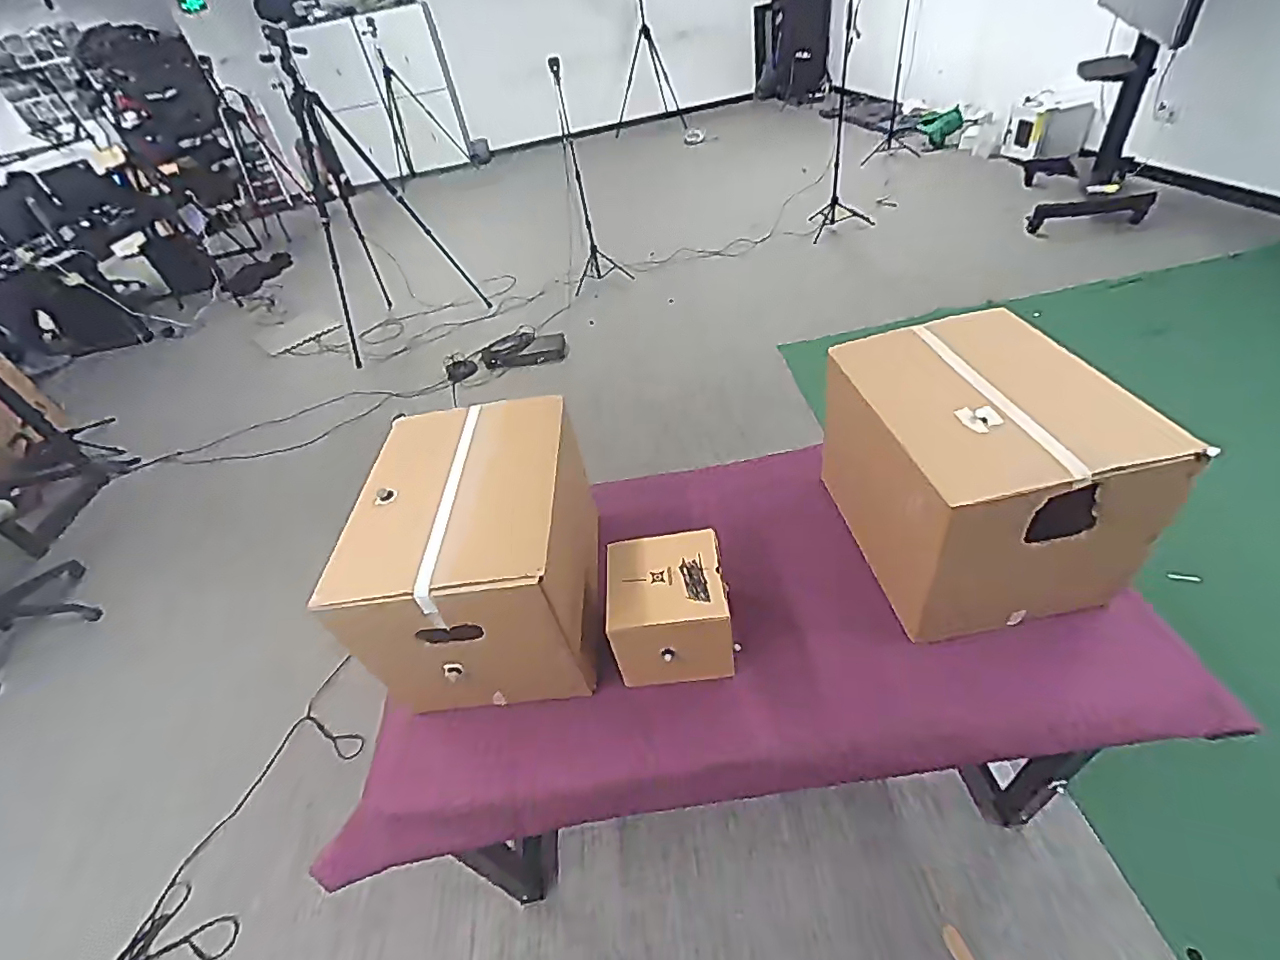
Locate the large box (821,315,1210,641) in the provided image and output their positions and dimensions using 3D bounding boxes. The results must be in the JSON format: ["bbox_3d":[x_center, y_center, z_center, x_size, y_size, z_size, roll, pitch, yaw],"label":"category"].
[{"bbox_3d":[0.522,-0.015,0.882,0.320,0.320,0.408,-13,42,3],"label":"large box"}]
